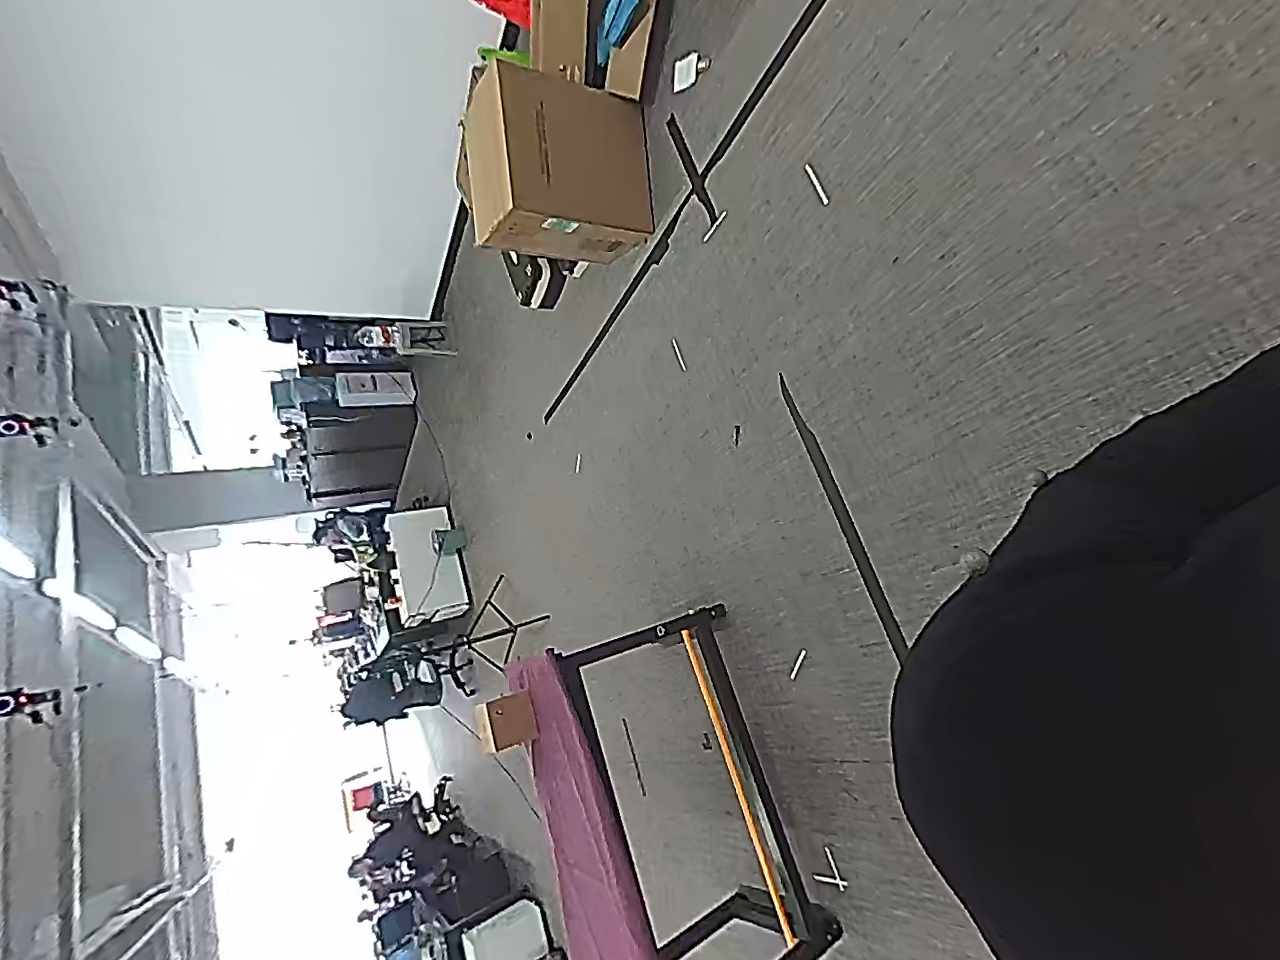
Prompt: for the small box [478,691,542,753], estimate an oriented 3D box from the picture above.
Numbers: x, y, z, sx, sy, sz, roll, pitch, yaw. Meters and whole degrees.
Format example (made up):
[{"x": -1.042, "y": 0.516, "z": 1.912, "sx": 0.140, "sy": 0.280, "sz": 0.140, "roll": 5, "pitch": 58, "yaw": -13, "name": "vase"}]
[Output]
[{"x": -0.488, "y": 0.905, "z": 2.028, "sx": 0.168, "sy": 0.176, "sz": 0.179, "roll": -41, "pitch": 63, "yaw": 51, "name": "small box"}]
